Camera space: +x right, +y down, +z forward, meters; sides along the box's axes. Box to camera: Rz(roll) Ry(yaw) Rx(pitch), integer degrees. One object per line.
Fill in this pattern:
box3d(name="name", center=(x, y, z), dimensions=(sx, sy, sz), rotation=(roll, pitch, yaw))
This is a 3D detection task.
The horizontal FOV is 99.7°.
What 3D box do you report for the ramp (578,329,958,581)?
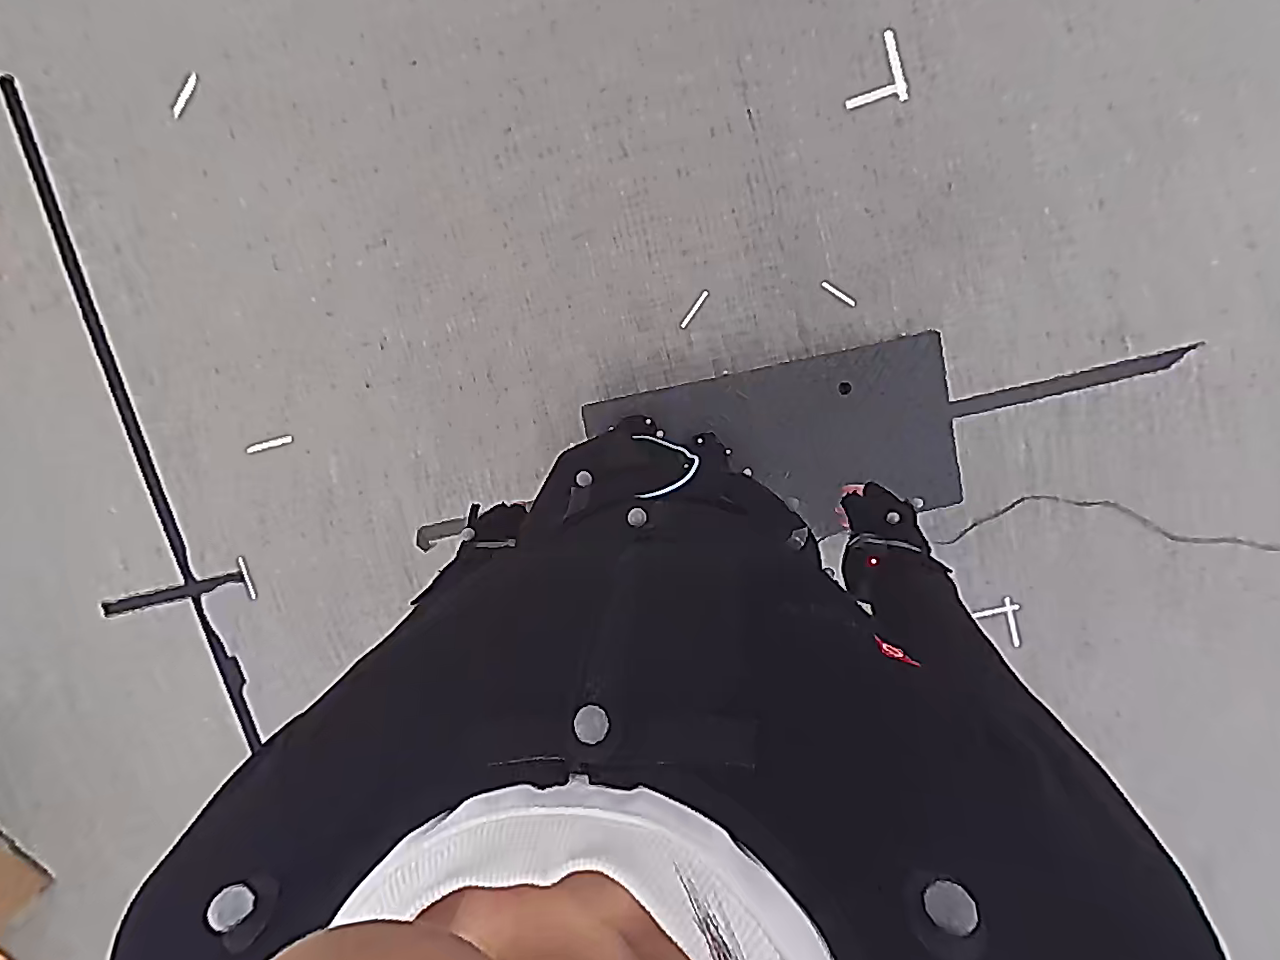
box3d(name="ramp", center=(0.370, -0.075, 1.472), dimensions=(0.991, 0.206, 0.509), rotation=(-14, 96, 5))
